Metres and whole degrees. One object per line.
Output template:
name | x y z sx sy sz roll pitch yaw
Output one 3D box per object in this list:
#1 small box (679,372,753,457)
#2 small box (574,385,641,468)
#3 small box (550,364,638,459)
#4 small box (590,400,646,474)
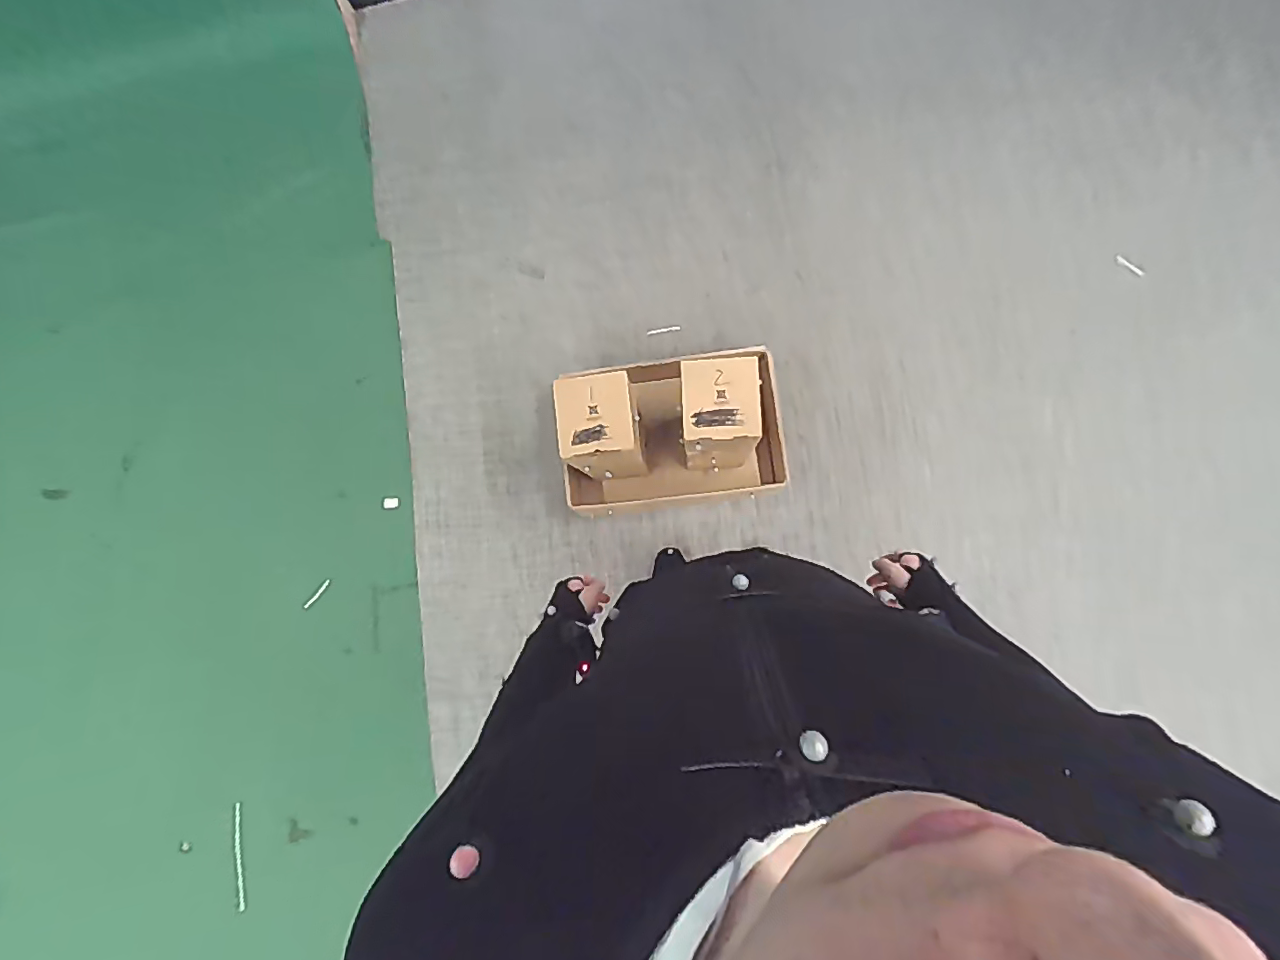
small box | 0.188 -0.162 1.378 0.168 0.176 0.179 -5 85 4
small box | -0.087 -0.133 1.396 0.168 0.176 0.179 -5 84 3
small box | -0.099 -0.146 1.232 0.168 0.176 0.179 -7 83 3
small box | -0.075 -0.119 1.557 0.168 0.176 0.179 -5 83 4
